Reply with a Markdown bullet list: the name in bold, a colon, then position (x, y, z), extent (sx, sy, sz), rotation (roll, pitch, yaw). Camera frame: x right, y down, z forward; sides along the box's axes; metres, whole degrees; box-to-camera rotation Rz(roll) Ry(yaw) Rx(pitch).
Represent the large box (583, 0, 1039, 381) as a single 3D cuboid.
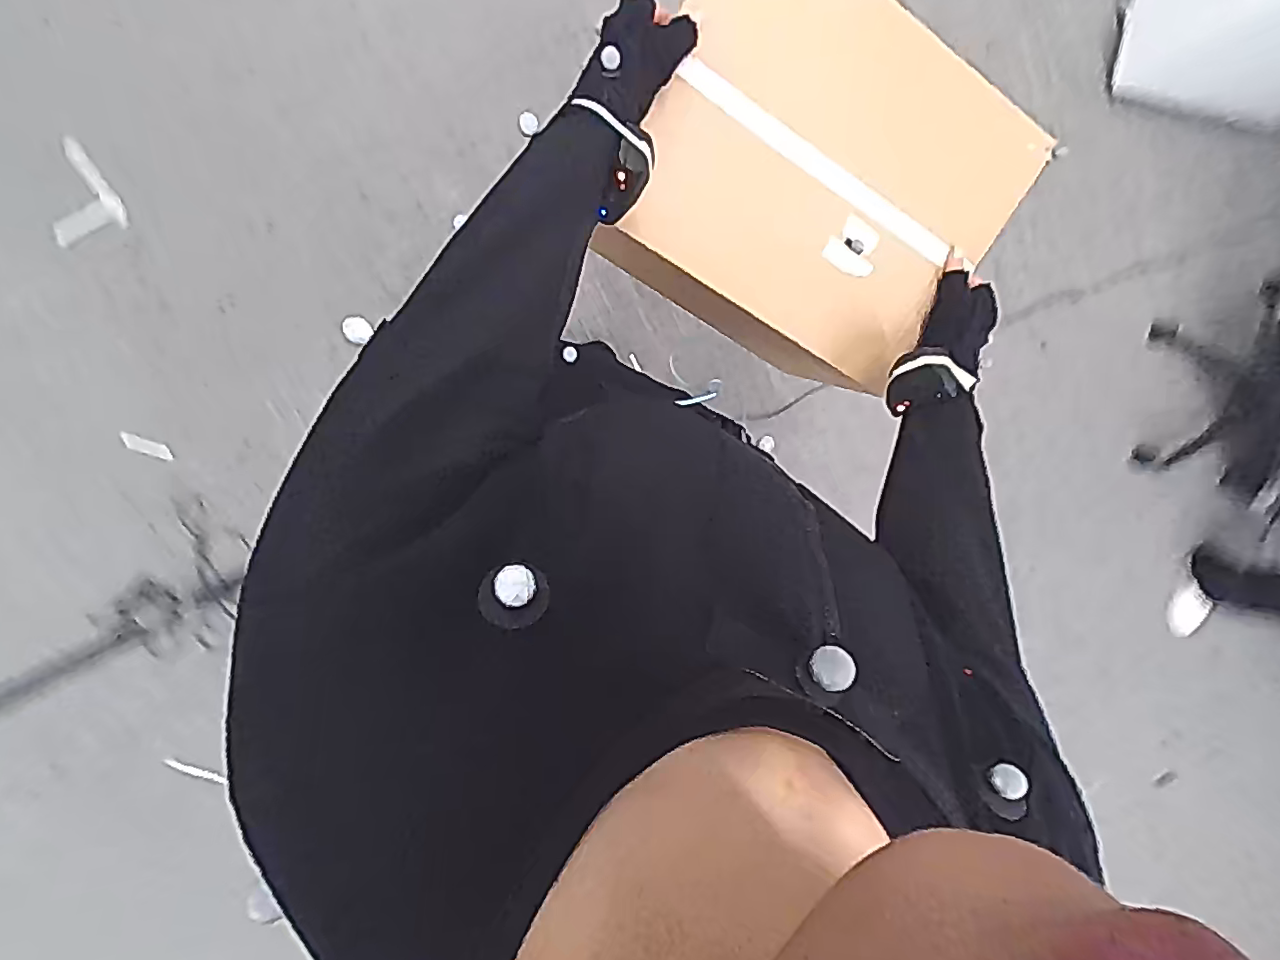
- **large box**: position (0.169, -0.372, 0.706), extent (0.408, 0.320, 0.320), rotation (27, 103, -14)
